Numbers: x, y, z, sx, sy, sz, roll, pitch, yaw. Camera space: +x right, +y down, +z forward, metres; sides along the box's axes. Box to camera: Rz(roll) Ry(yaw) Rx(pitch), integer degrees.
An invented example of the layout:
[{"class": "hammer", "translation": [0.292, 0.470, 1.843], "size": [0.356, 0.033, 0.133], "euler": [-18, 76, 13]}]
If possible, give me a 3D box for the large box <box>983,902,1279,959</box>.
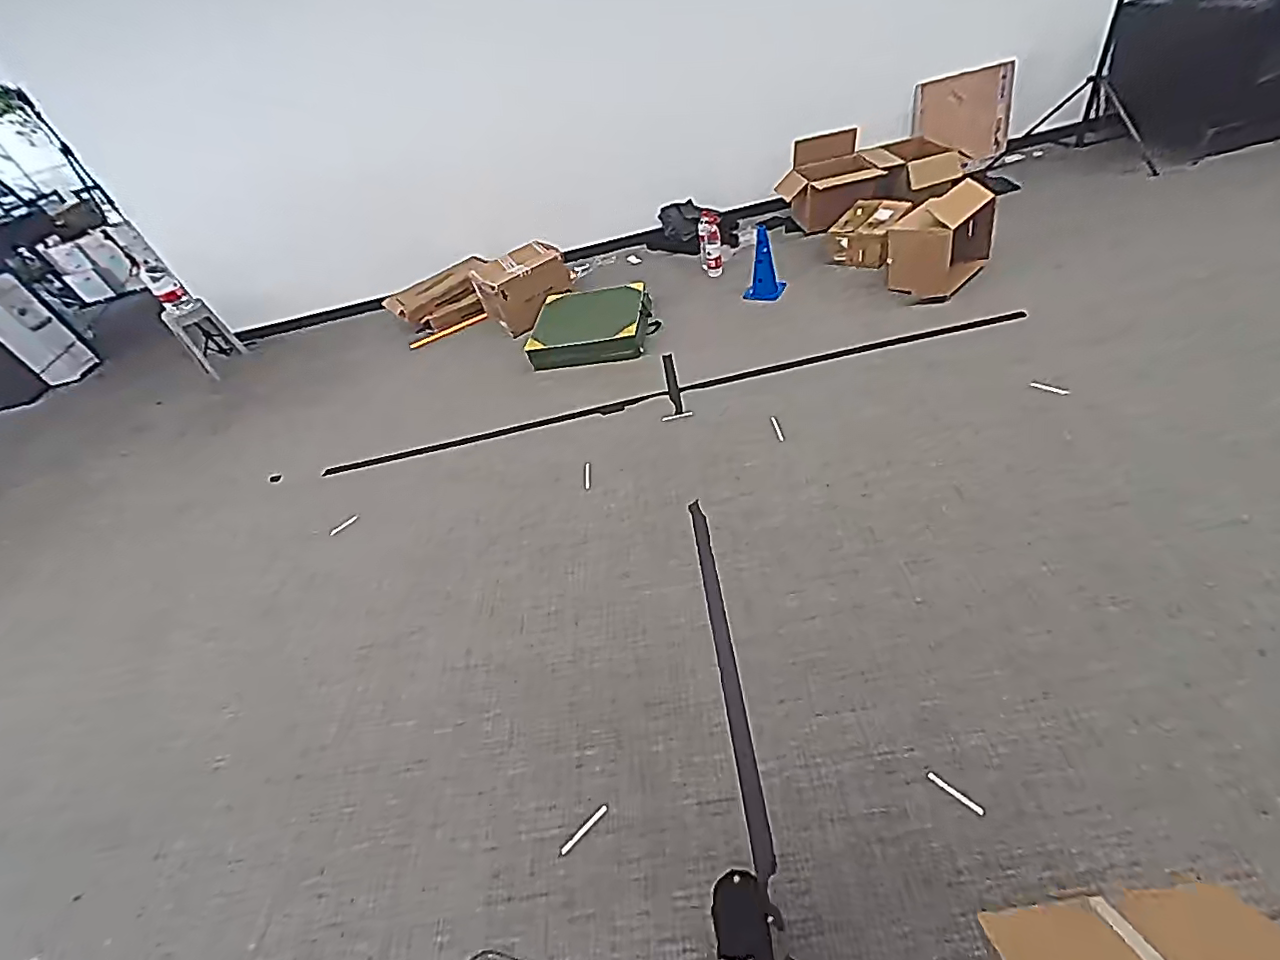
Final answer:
[{"class": "large box", "translation": [0.619, 0.713, 0.515], "size": [0.320, 0.408, 0.320], "euler": [-15, 83, 8]}]
